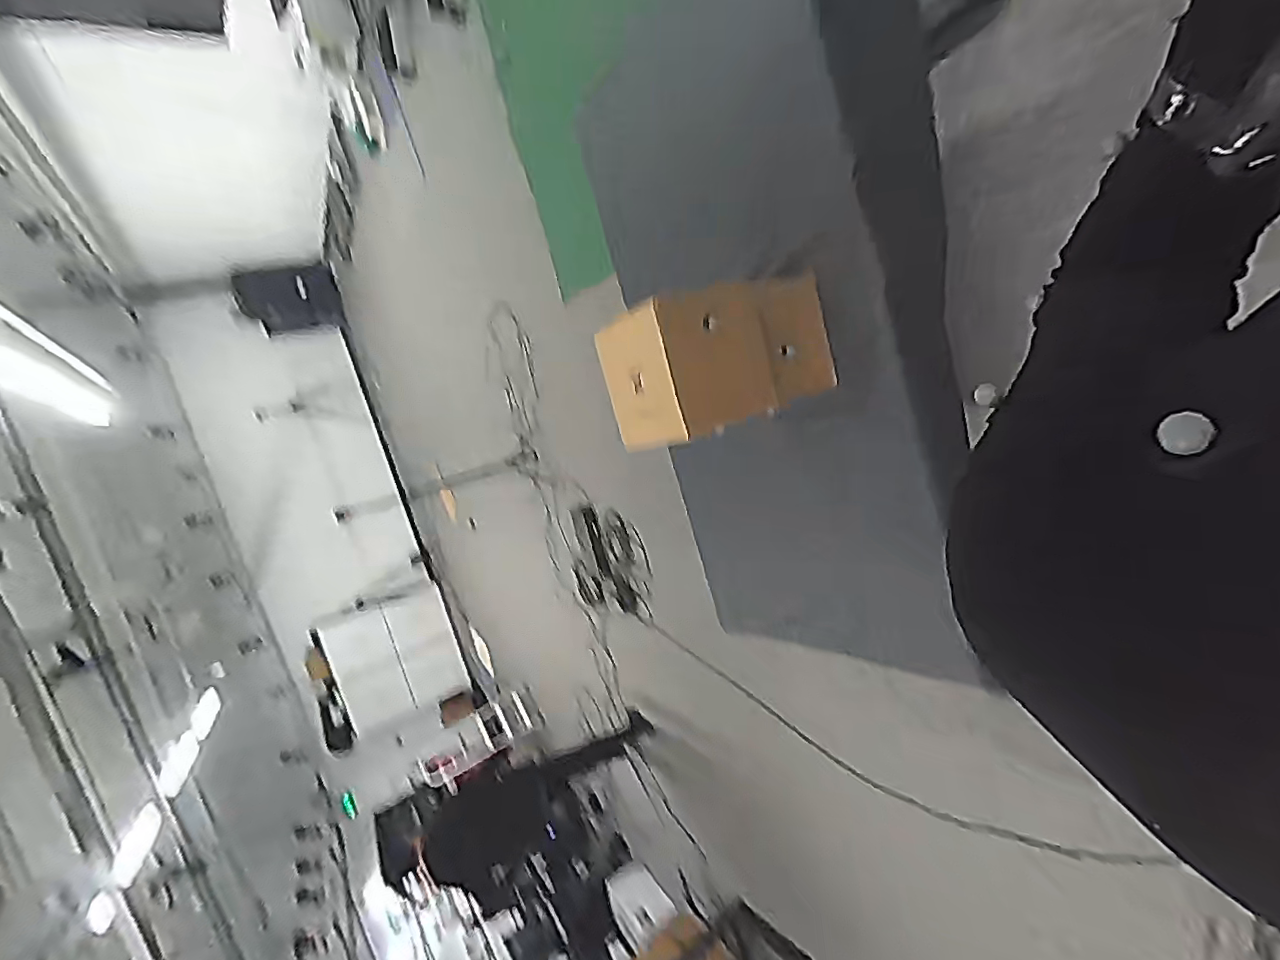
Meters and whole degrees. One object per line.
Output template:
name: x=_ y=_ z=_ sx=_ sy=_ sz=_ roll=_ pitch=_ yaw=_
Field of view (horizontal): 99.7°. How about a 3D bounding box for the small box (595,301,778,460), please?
small box: x=0.065 y=-0.142 z=0.766 sx=0.168 sy=0.176 sz=0.179 roll=-13 pitch=95 yaw=60
